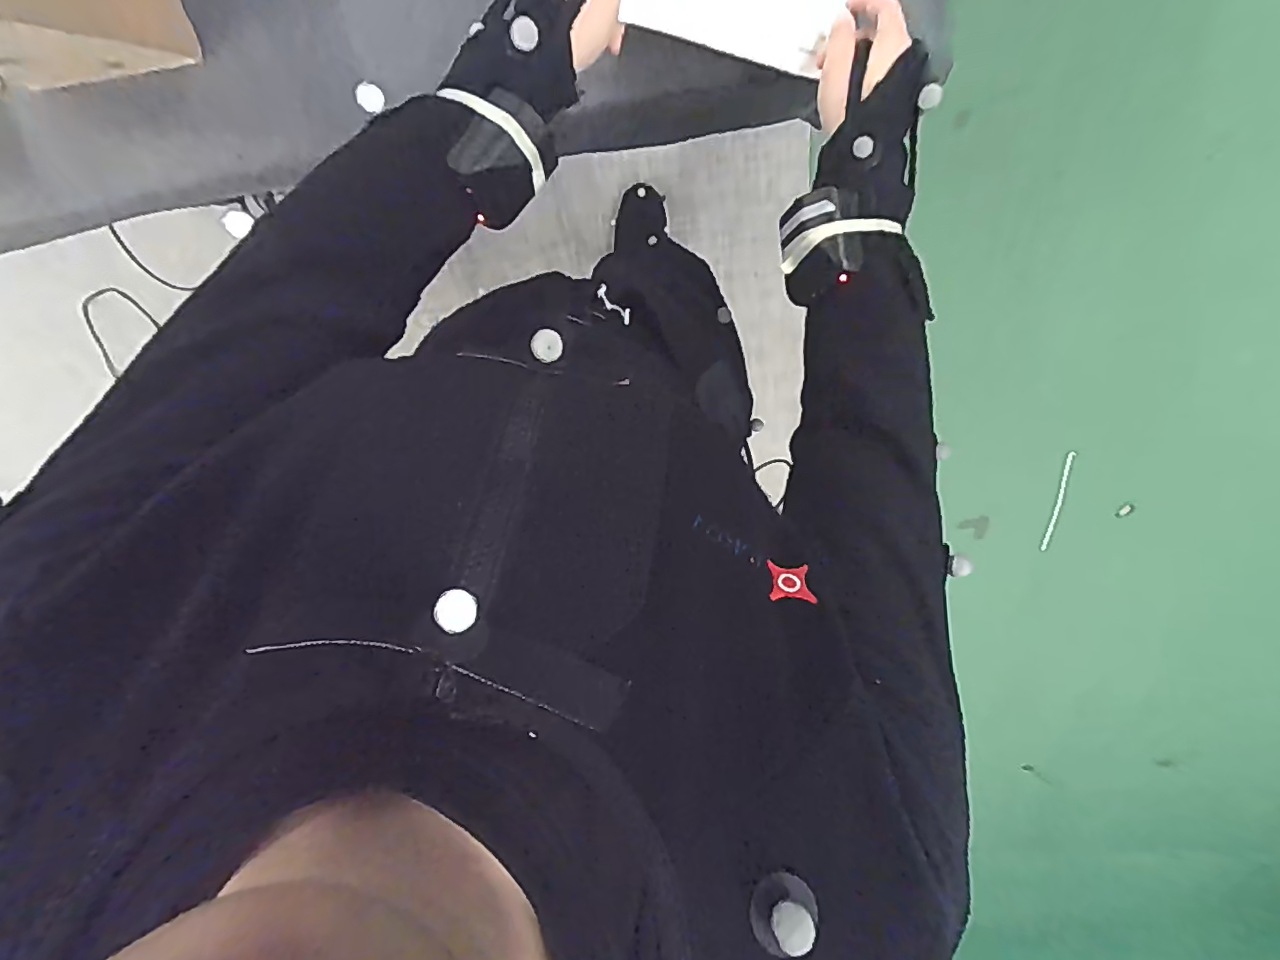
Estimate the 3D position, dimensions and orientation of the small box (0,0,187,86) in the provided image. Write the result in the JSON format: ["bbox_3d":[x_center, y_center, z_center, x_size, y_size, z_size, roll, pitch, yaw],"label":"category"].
[{"bbox_3d":[-0.454,-0.368,0.341,0.168,0.176,0.179,-4,119,6],"label":"small box"}]
